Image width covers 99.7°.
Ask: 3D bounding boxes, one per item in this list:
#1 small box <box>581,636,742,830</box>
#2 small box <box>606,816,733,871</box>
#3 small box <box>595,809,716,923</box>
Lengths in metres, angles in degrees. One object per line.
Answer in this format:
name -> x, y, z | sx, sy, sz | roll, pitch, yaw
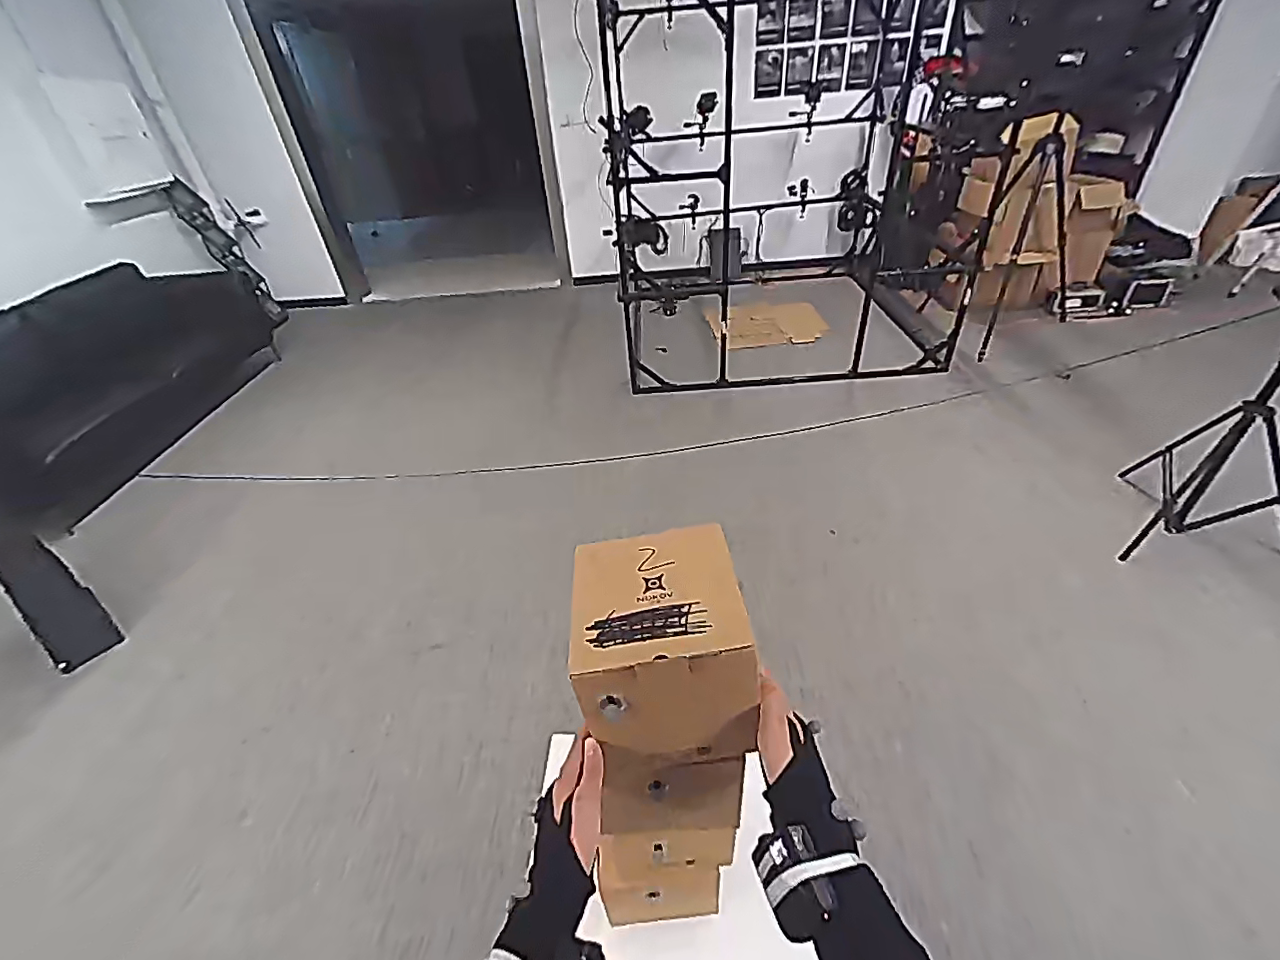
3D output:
small box -> 0.028, 0.319, 0.683 | 0.179, 0.176, 0.168 | -3, 37, 1
small box -> 0.039, 0.444, 0.791 | 0.168, 0.176, 0.179 | -4, 36, -1
small box -> 0.024, 0.586, 0.875 | 0.179, 0.176, 0.168 | -5, 37, -2
